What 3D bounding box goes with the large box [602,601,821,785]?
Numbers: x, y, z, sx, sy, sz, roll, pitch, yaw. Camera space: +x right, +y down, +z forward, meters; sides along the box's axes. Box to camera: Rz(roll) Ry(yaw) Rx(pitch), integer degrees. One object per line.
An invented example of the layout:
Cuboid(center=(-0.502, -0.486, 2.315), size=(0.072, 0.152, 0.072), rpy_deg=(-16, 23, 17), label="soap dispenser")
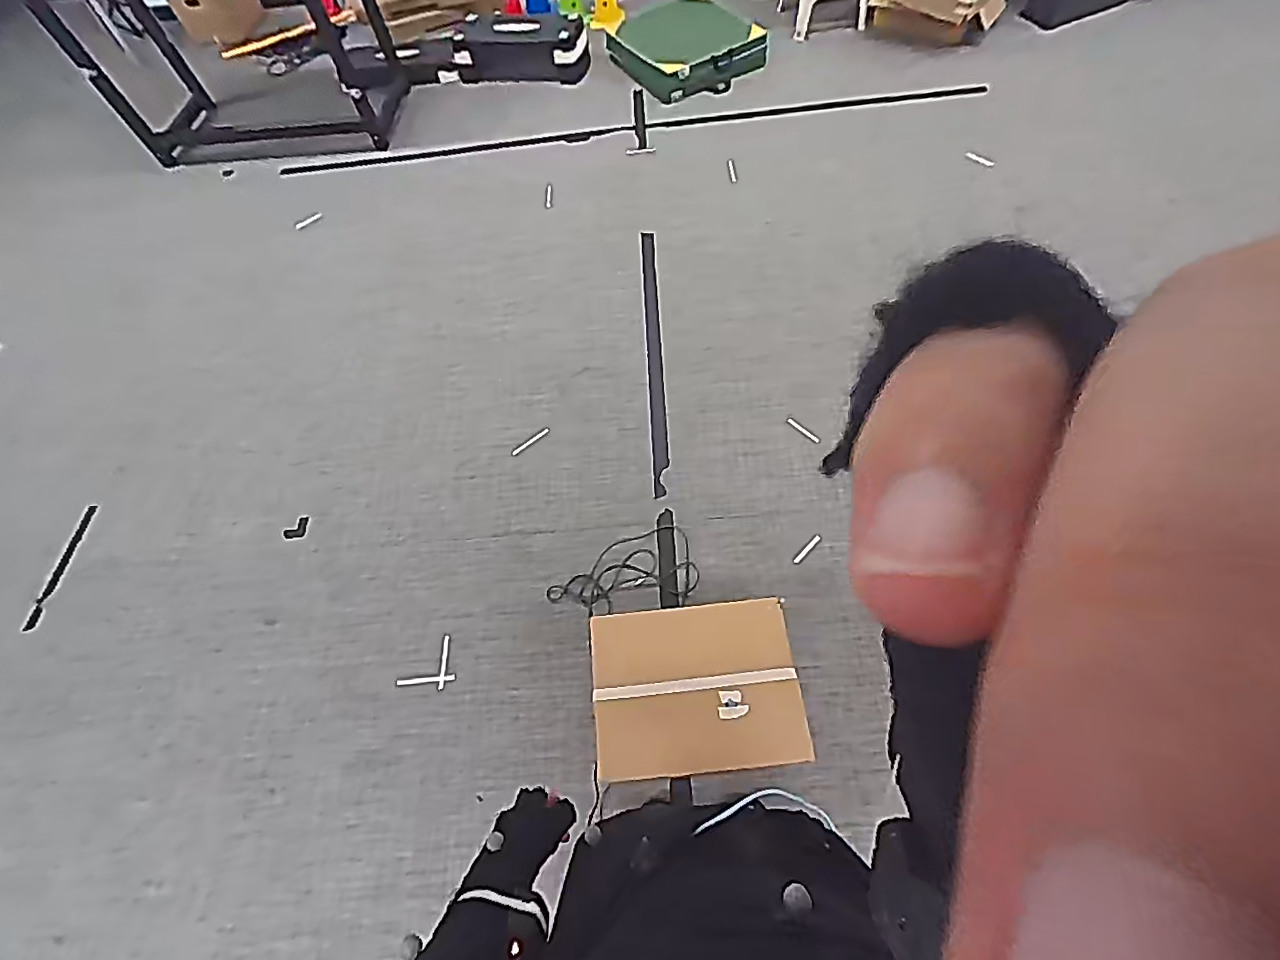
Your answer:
Cuboid(center=(0.136, 0.485, 1.206), size=(0.408, 0.320, 0.320), rpy_deg=(-6, 61, 1), label="large box")
